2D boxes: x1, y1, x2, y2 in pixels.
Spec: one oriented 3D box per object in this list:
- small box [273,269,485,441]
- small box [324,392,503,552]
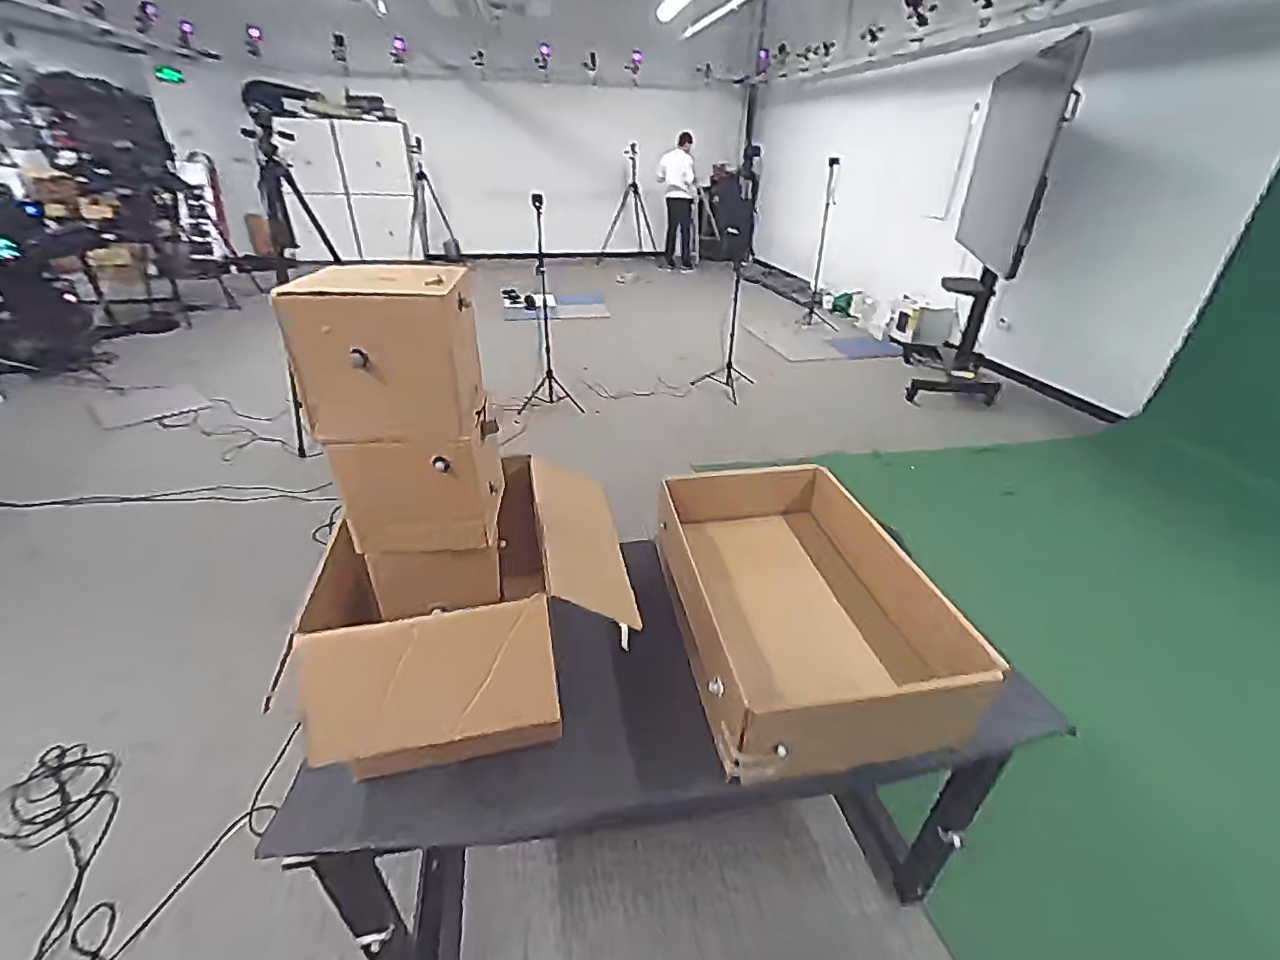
[{"bbox_3d":[-0.299,-0.155,0.665,0.179,0.176,0.168,-2,32,-7],"label":"small box"},{"bbox_3d":[-0.294,-0.013,0.747,0.179,0.176,0.168,-1,32,-6],"label":"small box"}]
